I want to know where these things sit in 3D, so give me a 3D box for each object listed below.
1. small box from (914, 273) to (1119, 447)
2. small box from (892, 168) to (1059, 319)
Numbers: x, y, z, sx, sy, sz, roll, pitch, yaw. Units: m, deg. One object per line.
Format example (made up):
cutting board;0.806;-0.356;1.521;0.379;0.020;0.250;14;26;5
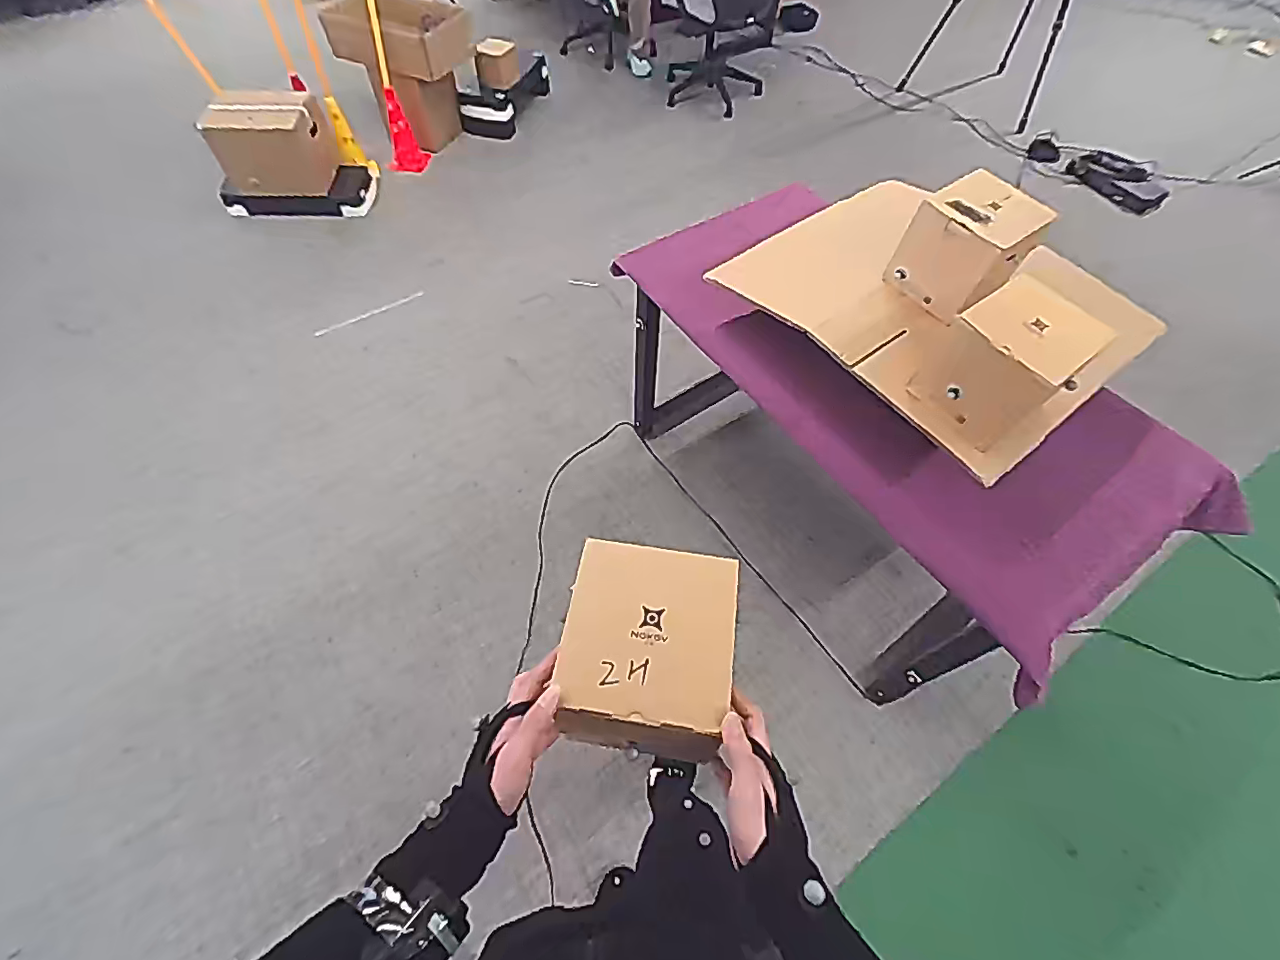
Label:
small box;0.581;-0.186;0.860;0.179;0.176;0.168;-33;67;-19
small box;0.600;-0.430;0.997;0.179;0.176;0.168;-32;67;-20
